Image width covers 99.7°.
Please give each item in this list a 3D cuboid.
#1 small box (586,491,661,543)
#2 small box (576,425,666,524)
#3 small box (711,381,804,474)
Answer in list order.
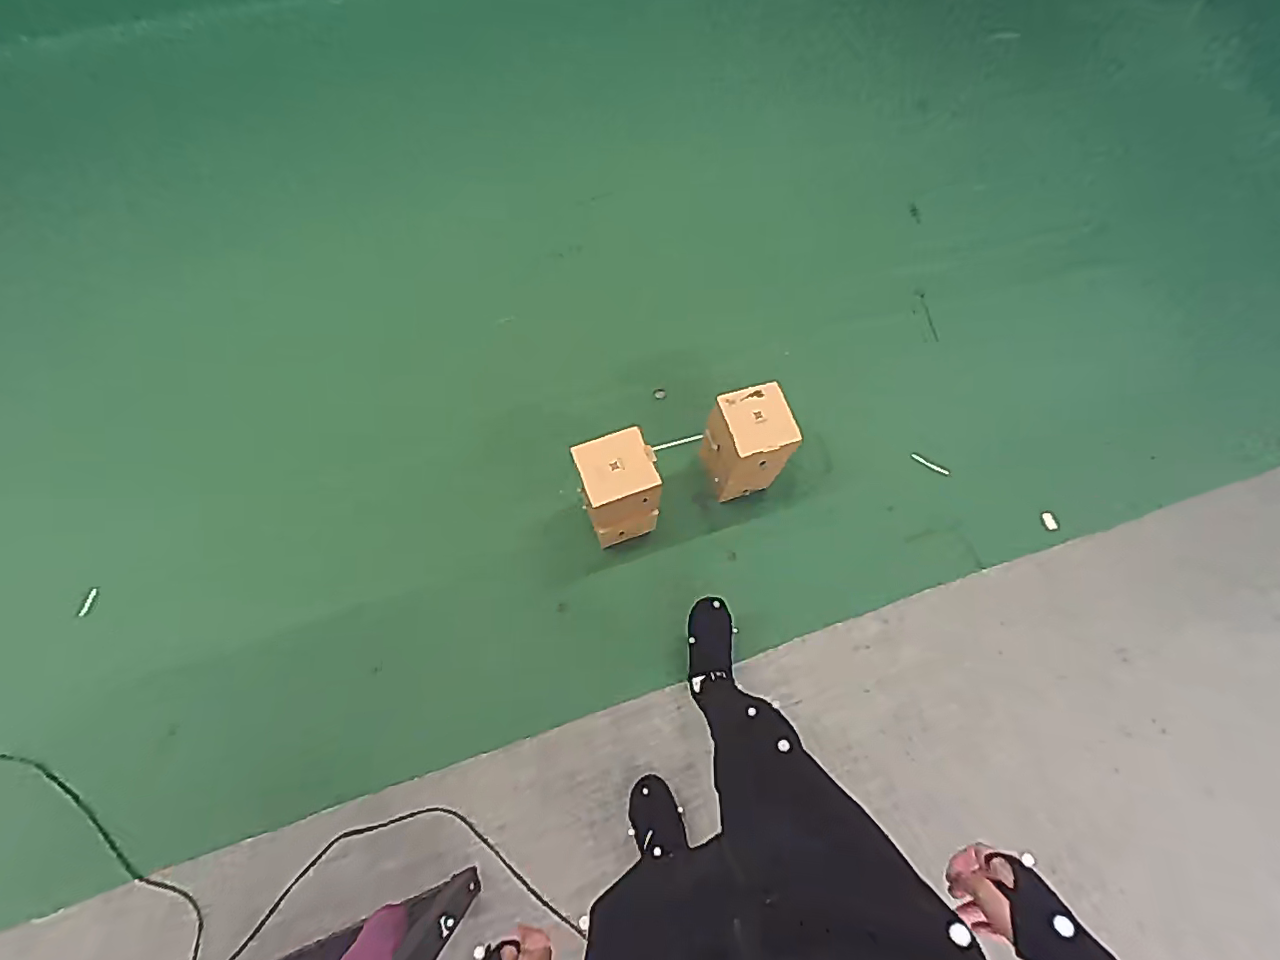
[{"bbox_3d":[-0.049,0.064,1.496,0.168,0.176,0.179,-19,70,-9],"label":"small box"},{"bbox_3d":[-0.049,-0.008,1.350,0.179,0.176,0.168,-19,70,-8],"label":"small box"},{"bbox_3d":[0.297,-0.127,1.402,0.168,0.176,0.179,-15,72,-8],"label":"small box"}]
